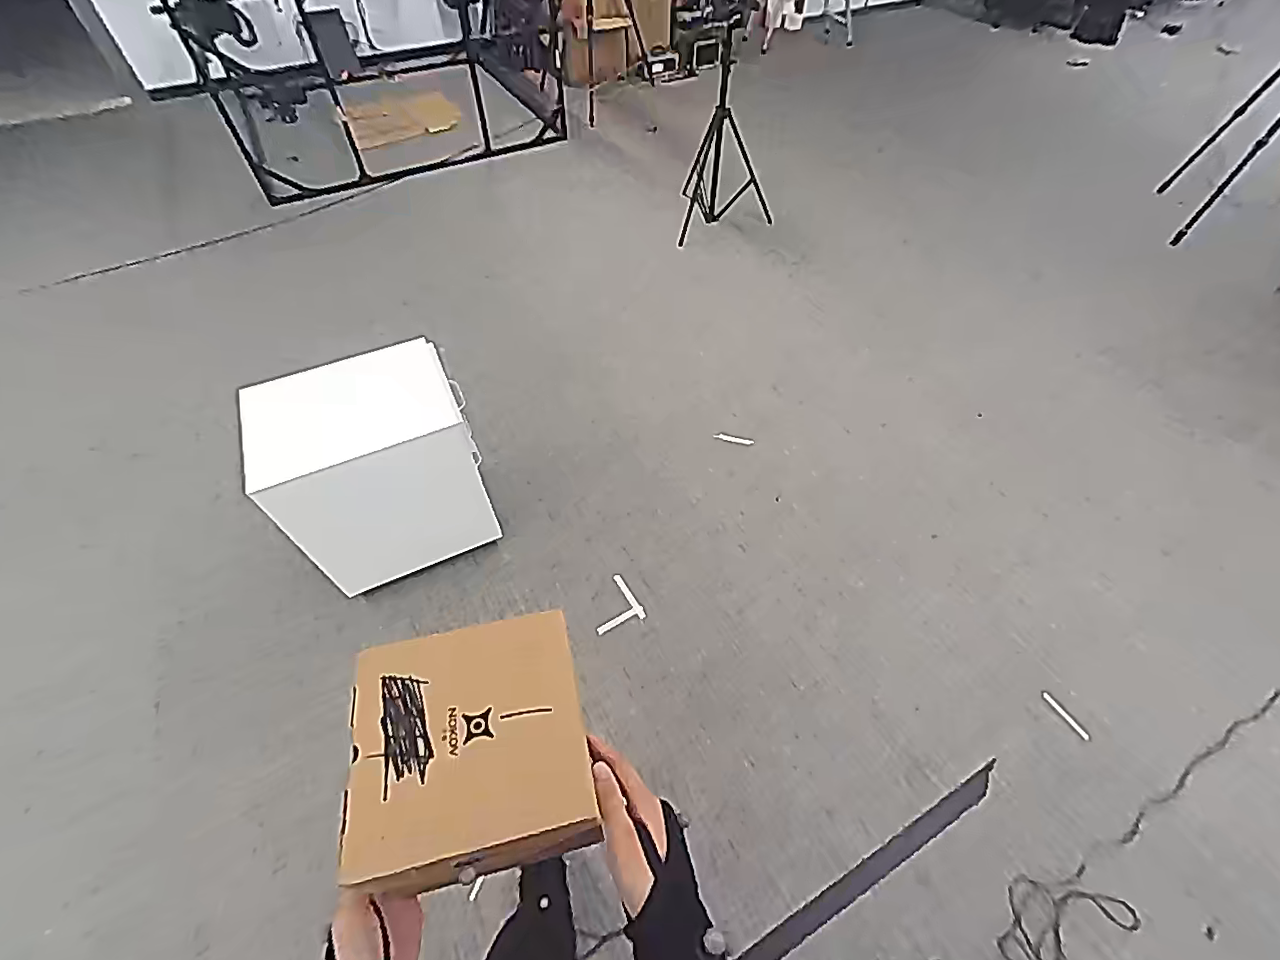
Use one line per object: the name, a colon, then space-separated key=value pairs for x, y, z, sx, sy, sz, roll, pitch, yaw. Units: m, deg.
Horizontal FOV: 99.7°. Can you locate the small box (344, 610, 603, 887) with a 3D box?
small box: x=-0.134 y=0.243 z=0.485 sx=0.179 sy=0.176 sz=0.168 roll=-9 pitch=52 yaw=-10
